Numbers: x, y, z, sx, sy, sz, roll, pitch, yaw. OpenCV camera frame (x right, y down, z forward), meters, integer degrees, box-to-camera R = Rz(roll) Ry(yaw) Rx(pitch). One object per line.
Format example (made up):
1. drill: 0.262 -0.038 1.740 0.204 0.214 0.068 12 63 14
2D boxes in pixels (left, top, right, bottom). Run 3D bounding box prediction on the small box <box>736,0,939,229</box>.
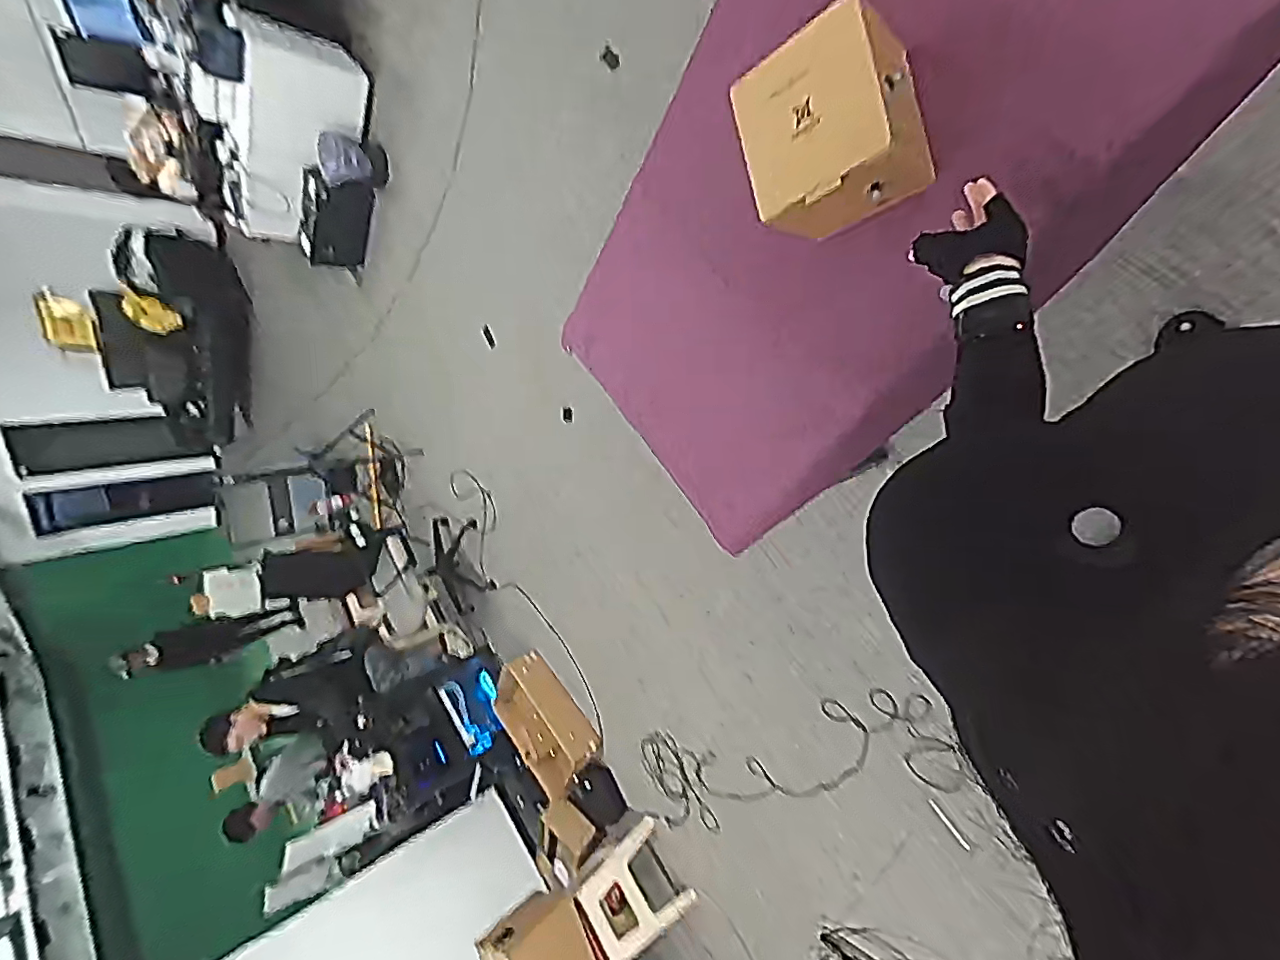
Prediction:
1. small box: 0.253 -0.440 0.684 0.168 0.176 0.179 -15 89 45
